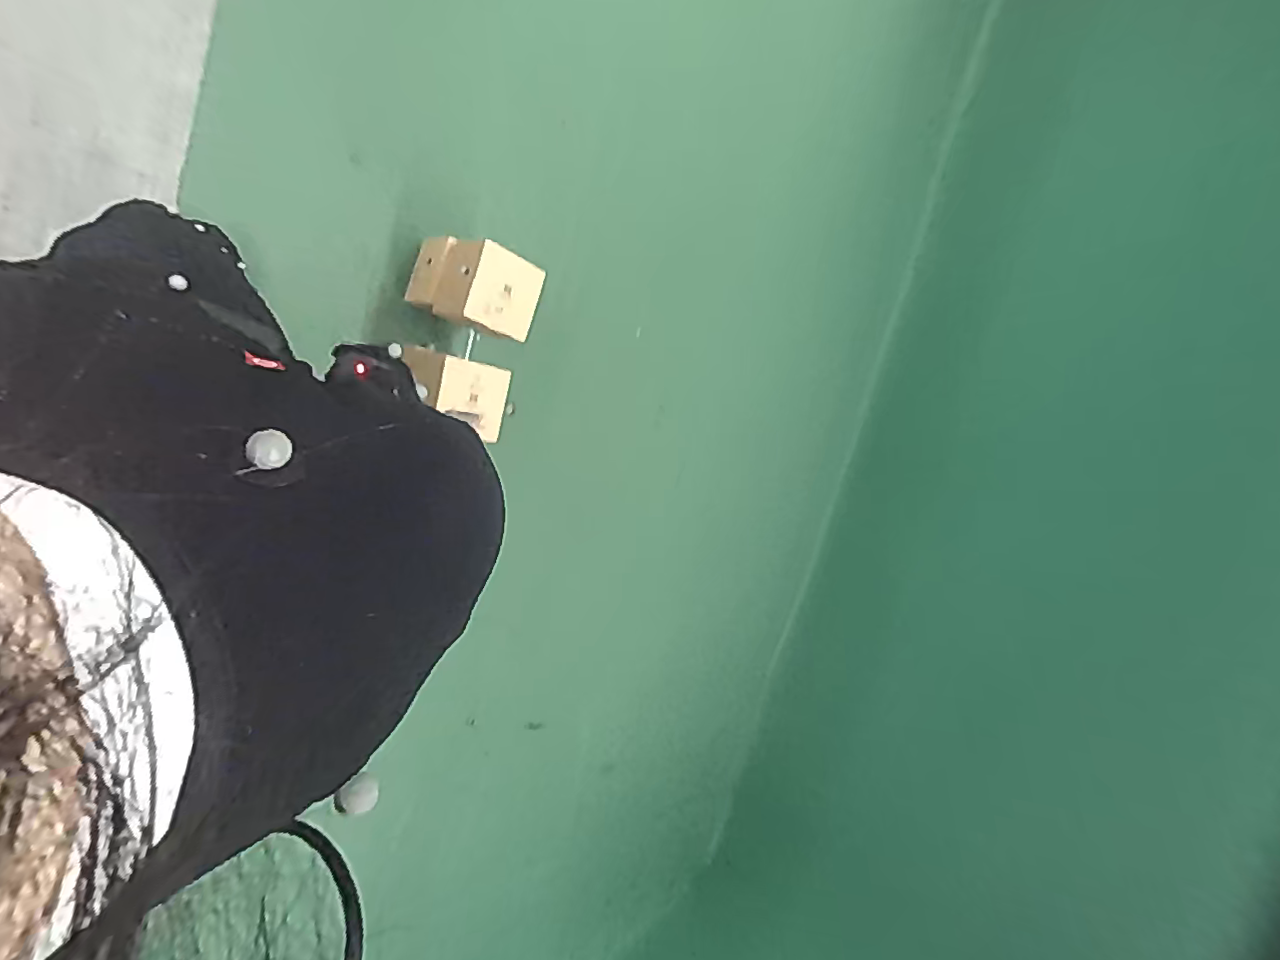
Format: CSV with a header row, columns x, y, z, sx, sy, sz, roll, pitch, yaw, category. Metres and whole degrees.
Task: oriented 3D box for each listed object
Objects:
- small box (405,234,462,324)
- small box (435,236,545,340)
x,y,z,sx,sy,sz,roll,pitch,yaw,category
-0.474,-0.504,1.388,0.179,0.176,0.168,18,92,-46,small box
-0.360,-0.451,1.281,0.168,0.176,0.179,17,93,-46,small box
